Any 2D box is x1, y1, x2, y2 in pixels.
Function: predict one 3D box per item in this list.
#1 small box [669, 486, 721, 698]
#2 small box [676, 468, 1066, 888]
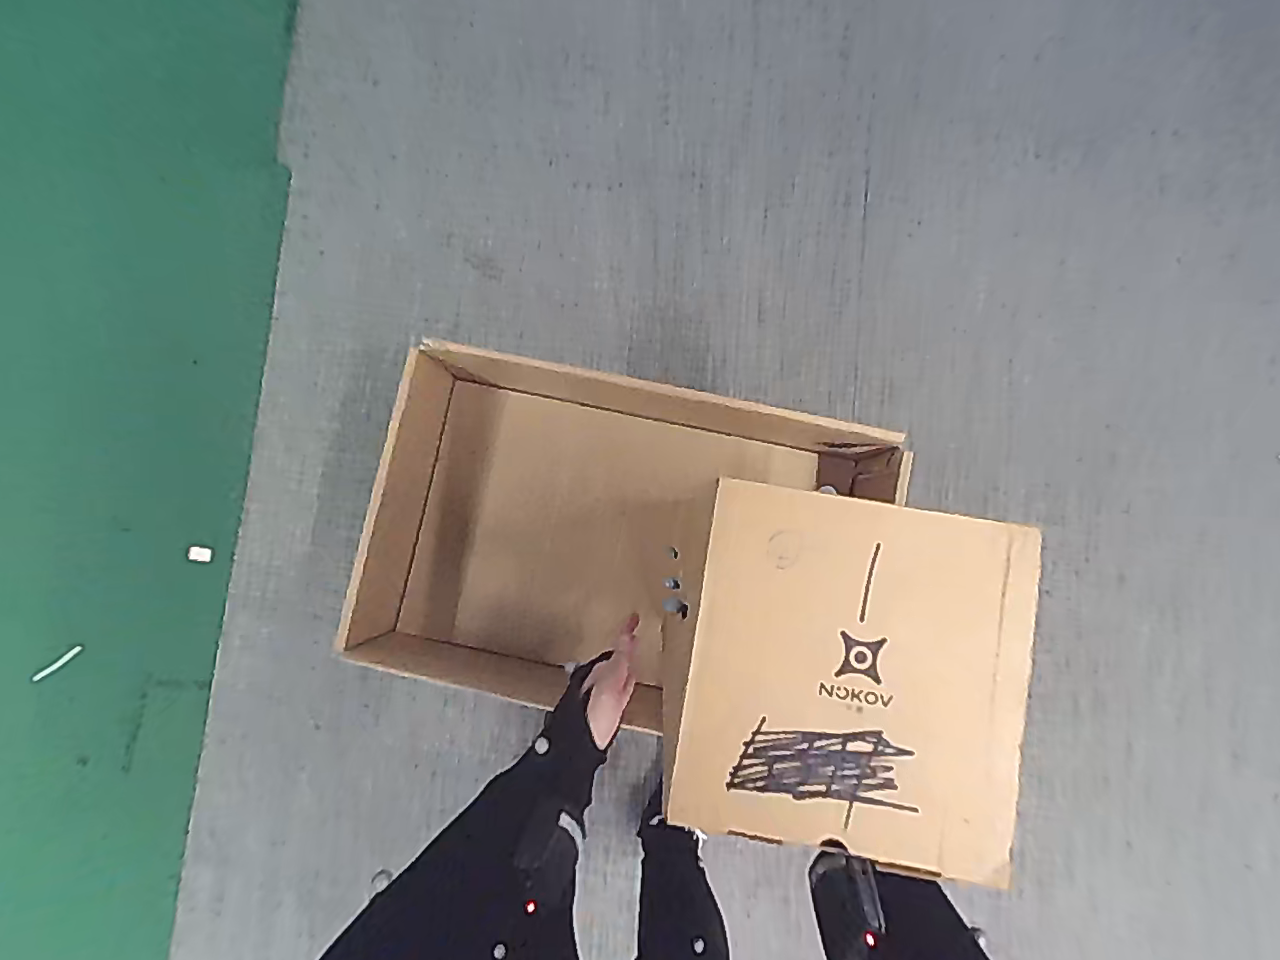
[{"bbox_3d":[0.121,0.110,0.506,0.168,0.176,0.179,10,86,2],"label":"small box"},{"bbox_3d":[0.117,0.100,0.342,0.168,0.176,0.179,10,84,3],"label":"small box"}]
